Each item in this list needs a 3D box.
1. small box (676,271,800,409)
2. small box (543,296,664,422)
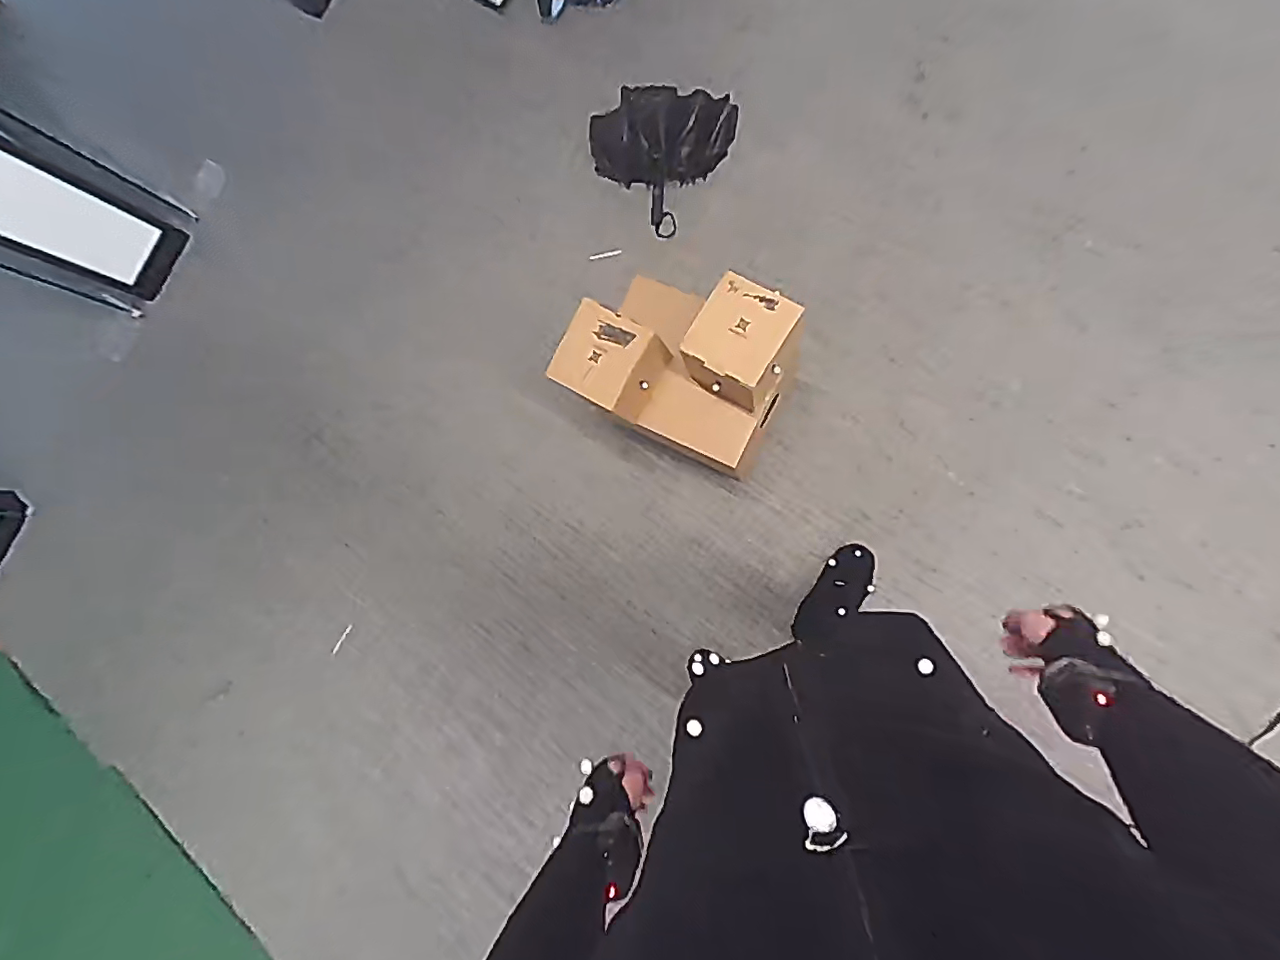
[{"bbox_3d":[0.196,-0.263,1.059,0.168,0.176,0.179,33,90,15],"label":"small box"},{"bbox_3d":[-0.064,-0.241,1.119,0.168,0.176,0.179,31,94,15],"label":"small box"}]
